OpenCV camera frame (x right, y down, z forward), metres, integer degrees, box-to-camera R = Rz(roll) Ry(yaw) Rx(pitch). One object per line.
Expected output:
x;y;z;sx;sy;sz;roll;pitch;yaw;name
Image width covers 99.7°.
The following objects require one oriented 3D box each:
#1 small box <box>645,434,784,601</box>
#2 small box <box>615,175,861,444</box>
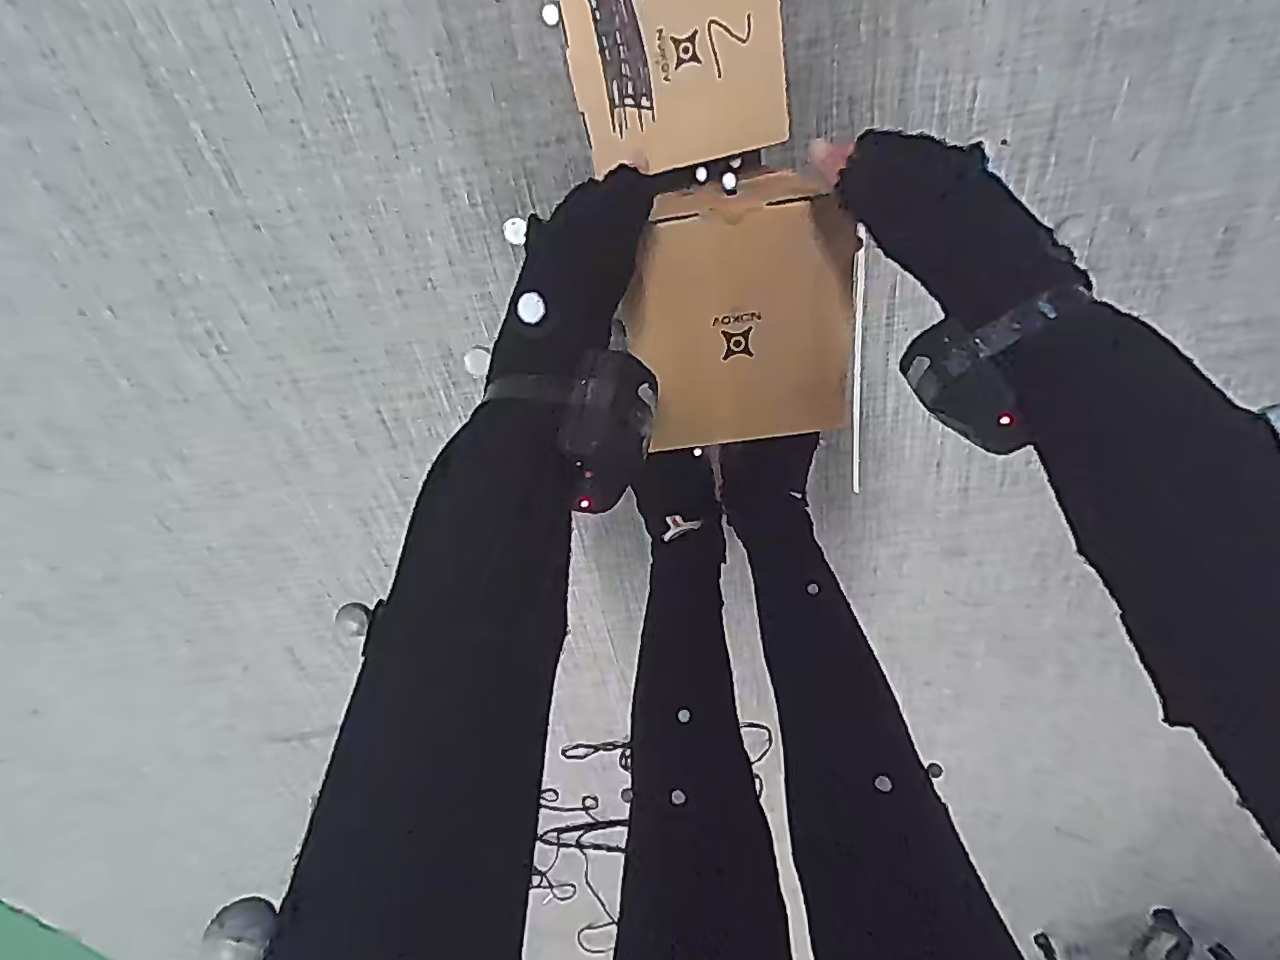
0.105;0.051;0.819;0.168;0.176;0.179;-10;124;-4;small box
0.077;-0.152;0.469;0.168;0.176;0.179;-7;120;5;small box
